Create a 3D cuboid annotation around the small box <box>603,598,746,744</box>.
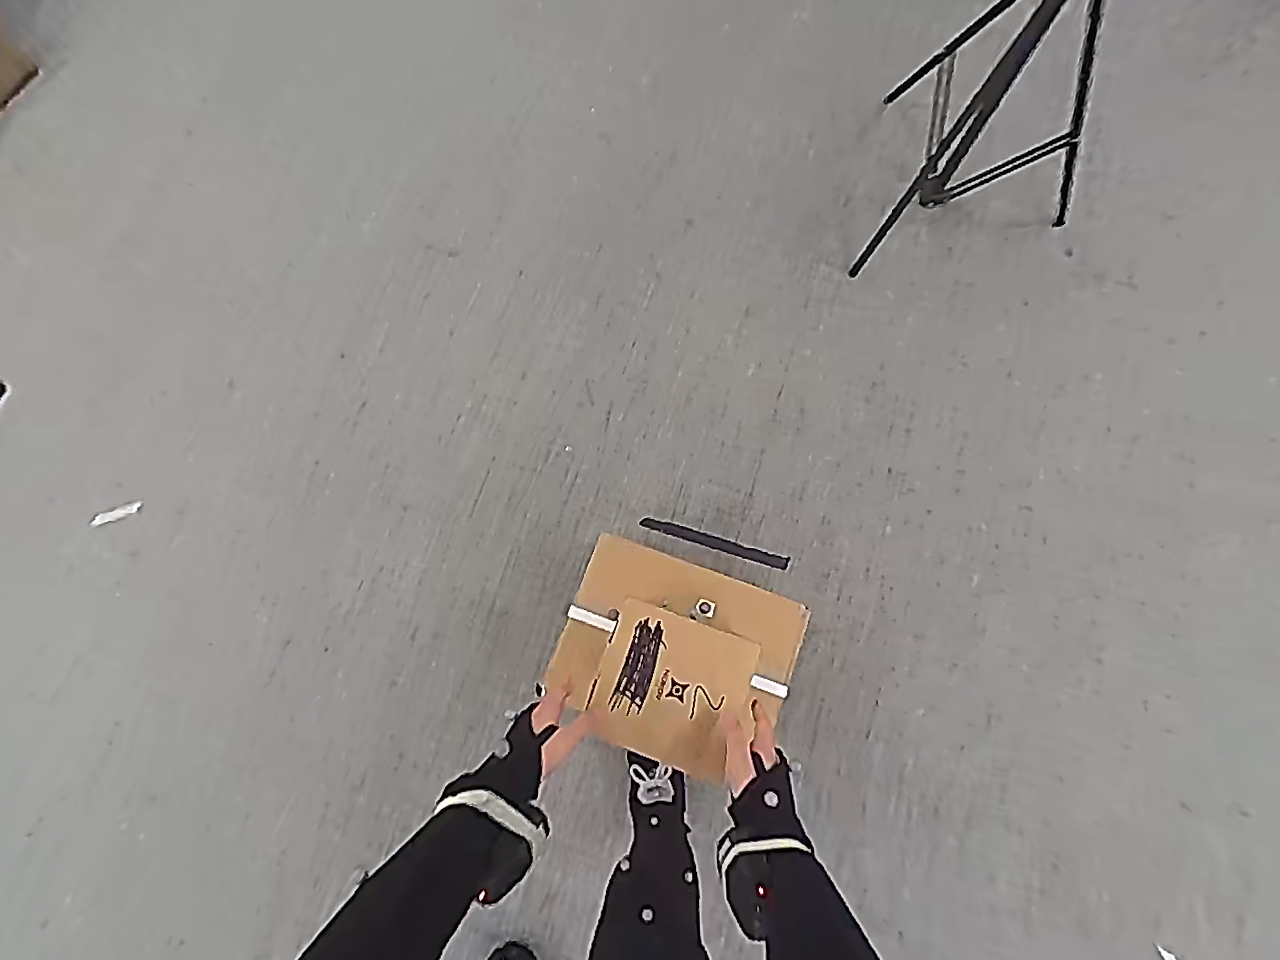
[{"bbox_3d":[0.055,0.298,0.876,0.179,0.176,0.168,17,79,6],"label":"small box"}]
